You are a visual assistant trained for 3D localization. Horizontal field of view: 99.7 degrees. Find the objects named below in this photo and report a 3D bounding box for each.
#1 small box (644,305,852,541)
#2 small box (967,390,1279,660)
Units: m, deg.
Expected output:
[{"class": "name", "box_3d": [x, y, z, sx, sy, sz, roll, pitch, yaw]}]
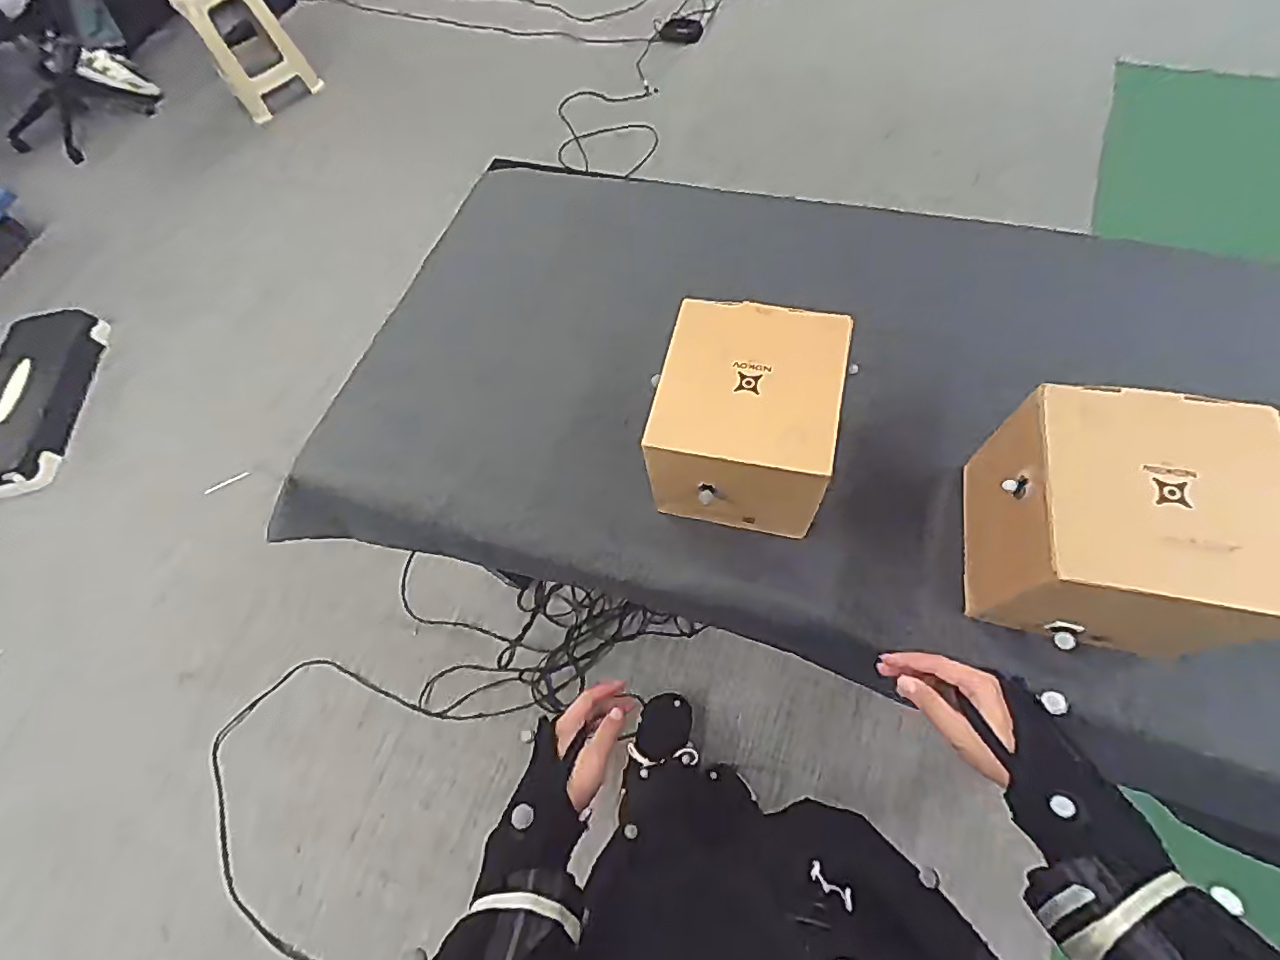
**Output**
[{"class": "small box", "box_3d": [0.112, -0.052, 0.565, 0.168, 0.176, 0.179, 10, 66, 12]}, {"class": "small box", "box_3d": [0.411, 0.046, 0.479, 0.168, 0.176, 0.179, 8, 66, 13]}]
